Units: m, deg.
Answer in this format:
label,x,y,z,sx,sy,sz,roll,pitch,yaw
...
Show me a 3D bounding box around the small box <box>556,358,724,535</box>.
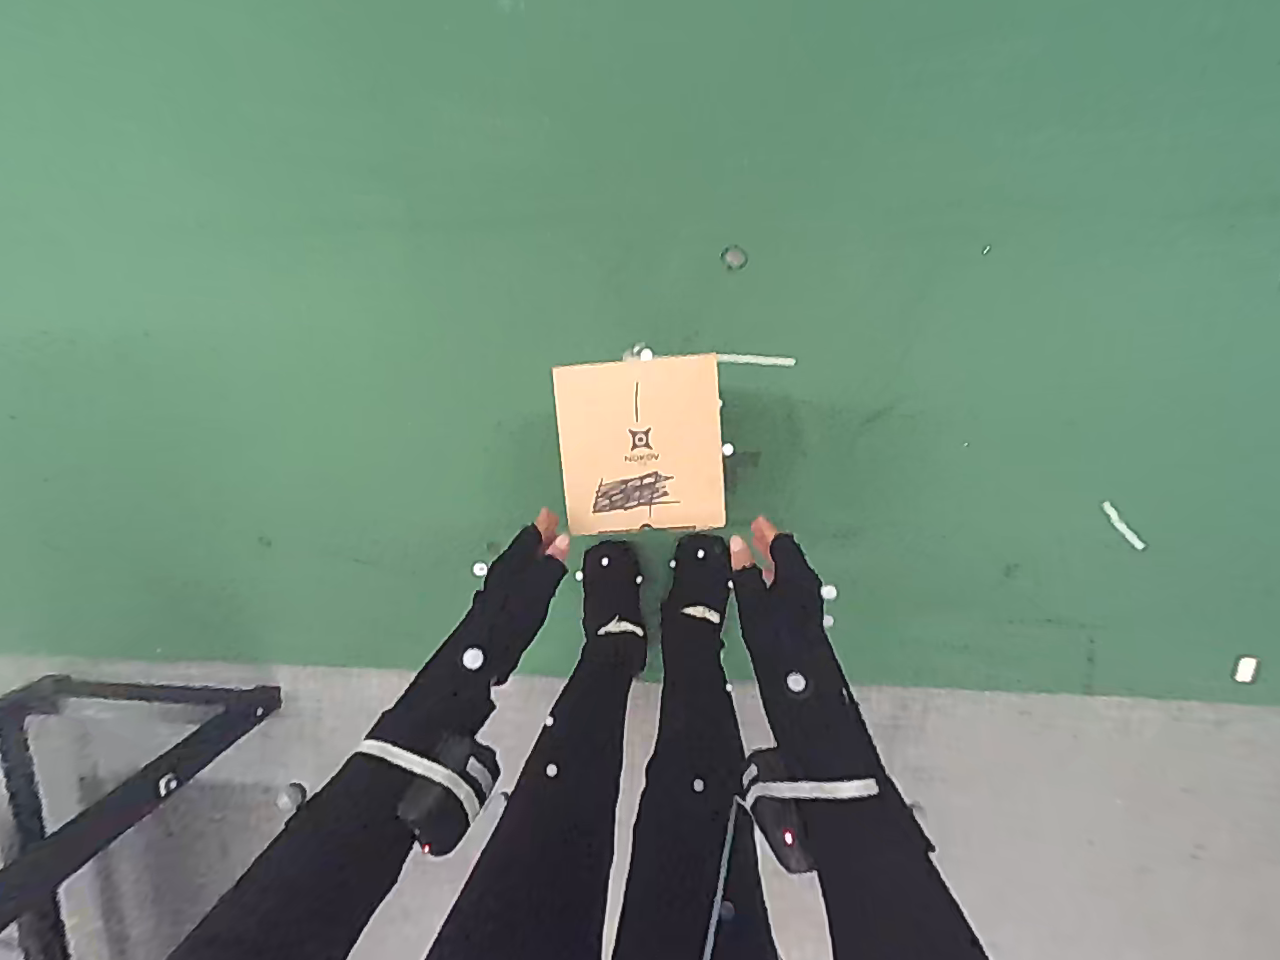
label,x,y,z,sx,sy,sz,roll,pitch,yaw
small box,0.009,-0.043,0.628,0.168,0.176,0.179,-4,98,5
